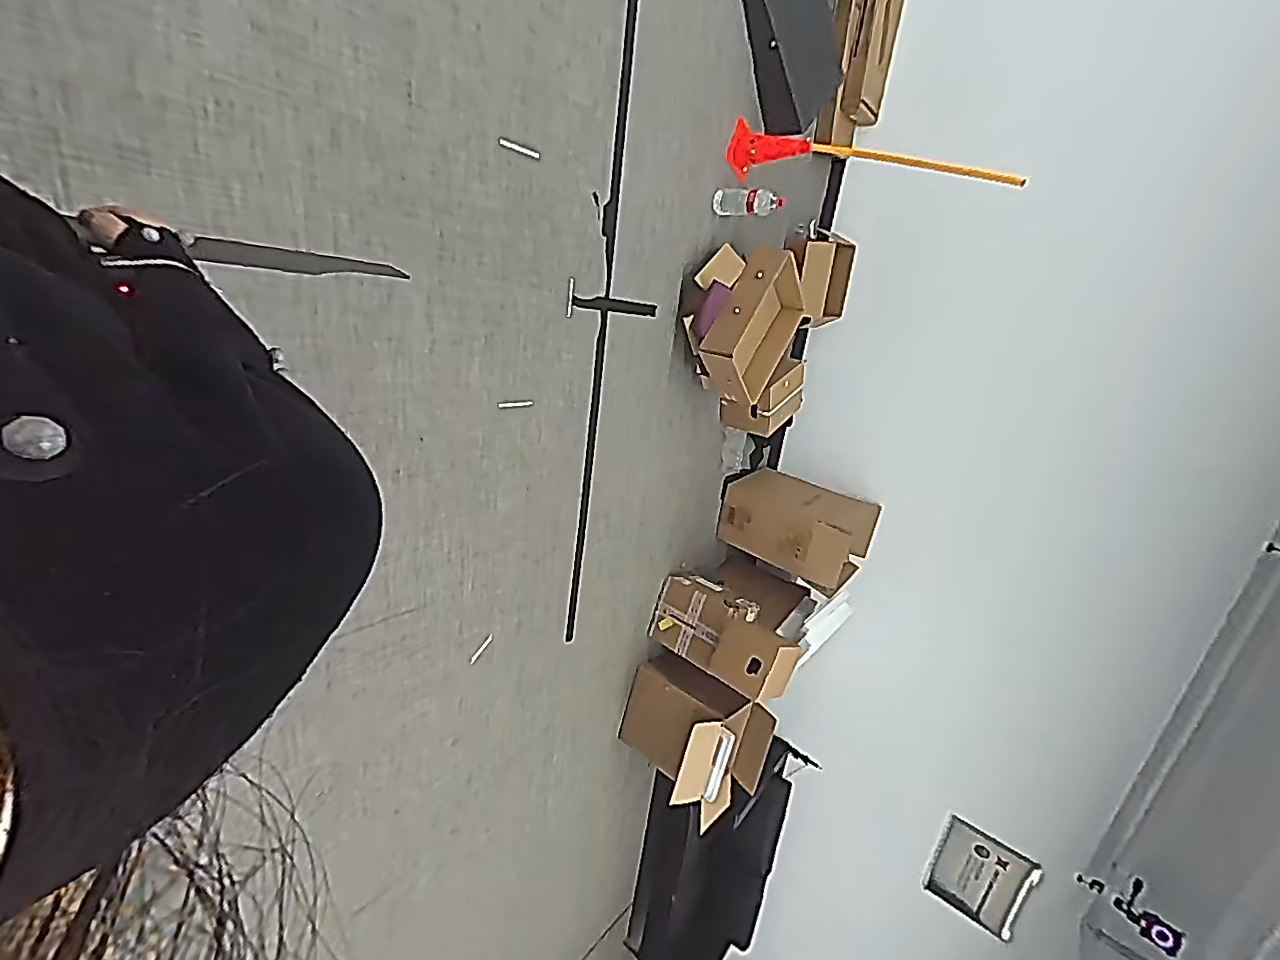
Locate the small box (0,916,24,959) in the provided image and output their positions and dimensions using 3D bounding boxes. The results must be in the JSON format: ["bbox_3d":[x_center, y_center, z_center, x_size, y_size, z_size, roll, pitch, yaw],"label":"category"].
[{"bbox_3d":[-1.278,0.978,1.012,0.168,0.176,0.179,-14,119,-51],"label":"small box"}]

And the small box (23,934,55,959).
[{"bbox_3d":[-1.428,1.176,1.206,0.168,0.176,0.179,-24,126,-46],"label":"small box"}]

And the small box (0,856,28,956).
[{"bbox_3d":[-1.402,0.916,1.102,0.168,0.176,0.179,-18,123,-49],"label":"small box"}]
